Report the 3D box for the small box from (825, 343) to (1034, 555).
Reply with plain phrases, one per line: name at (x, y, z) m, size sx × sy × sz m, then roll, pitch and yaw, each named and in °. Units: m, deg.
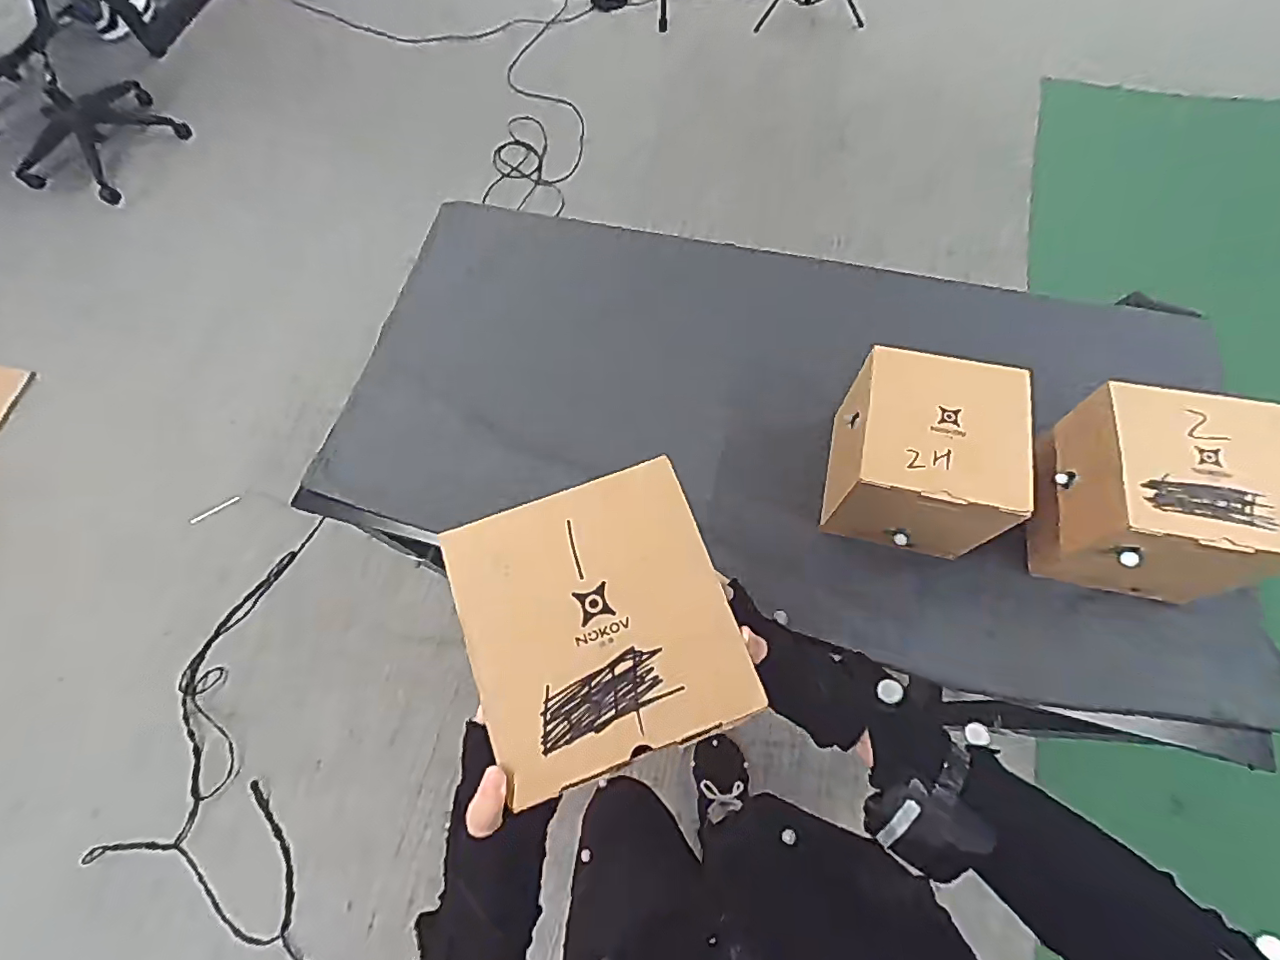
small box at (0.329, -0.030, 0.640) m, size 0.168 × 0.176 × 0.179 m, roll 12°, pitch 67°, yaw 10°
